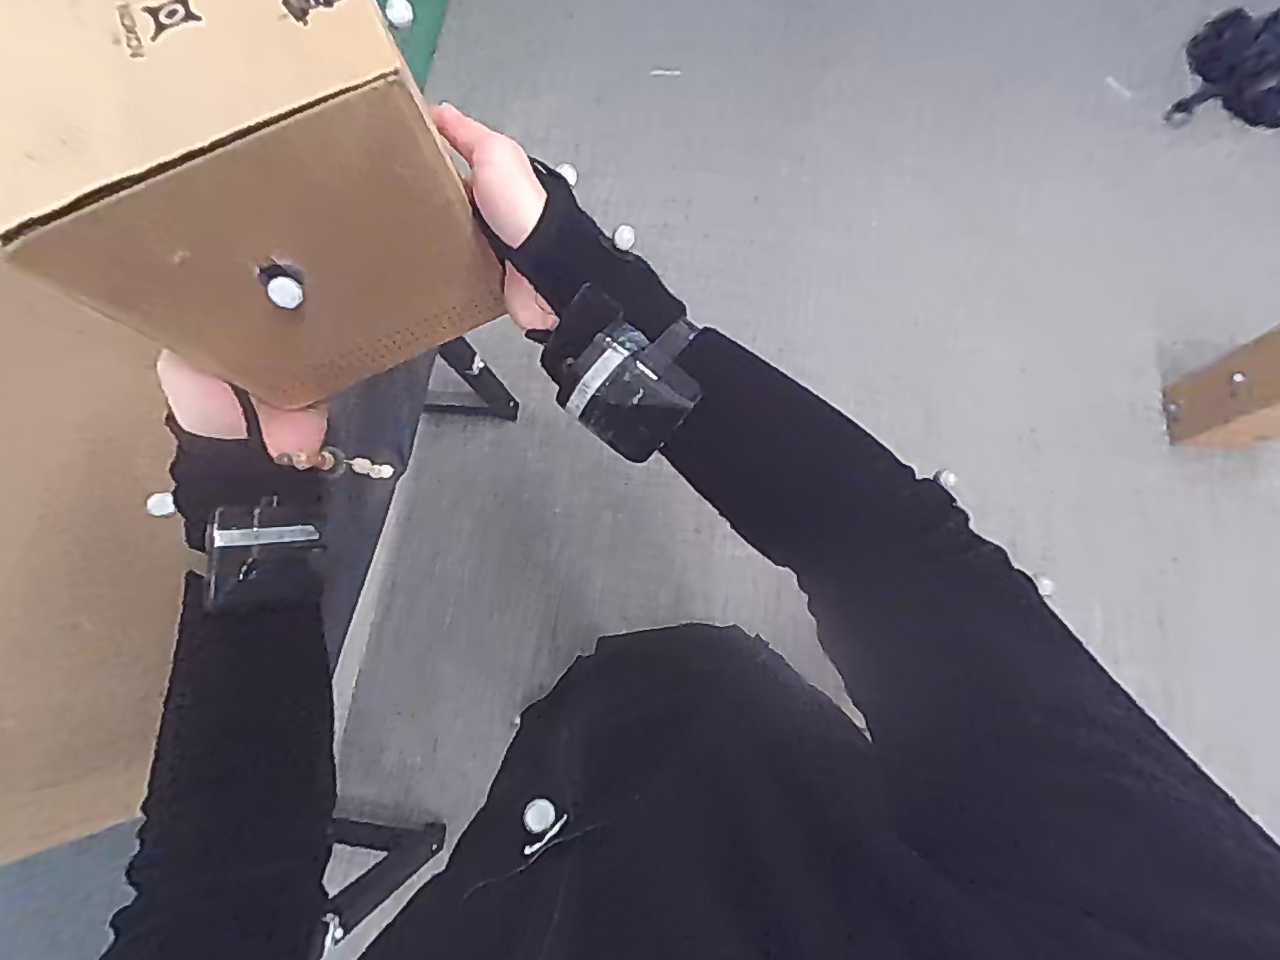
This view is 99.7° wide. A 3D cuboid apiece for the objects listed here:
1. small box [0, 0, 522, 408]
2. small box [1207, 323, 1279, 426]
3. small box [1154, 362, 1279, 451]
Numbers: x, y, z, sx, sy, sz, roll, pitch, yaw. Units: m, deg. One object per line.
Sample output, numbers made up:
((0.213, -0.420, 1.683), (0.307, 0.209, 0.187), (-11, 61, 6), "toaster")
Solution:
((-0.197, -0.168, 0.321), (0.179, 0.176, 0.168), (-26, 74, -2), "small box")
((1.415, -0.225, 1.176), (0.179, 0.176, 0.168), (2, 73, 7), "small box")
((1.439, -0.177, 1.332), (0.179, 0.176, 0.168), (2, 73, 8), "small box")
